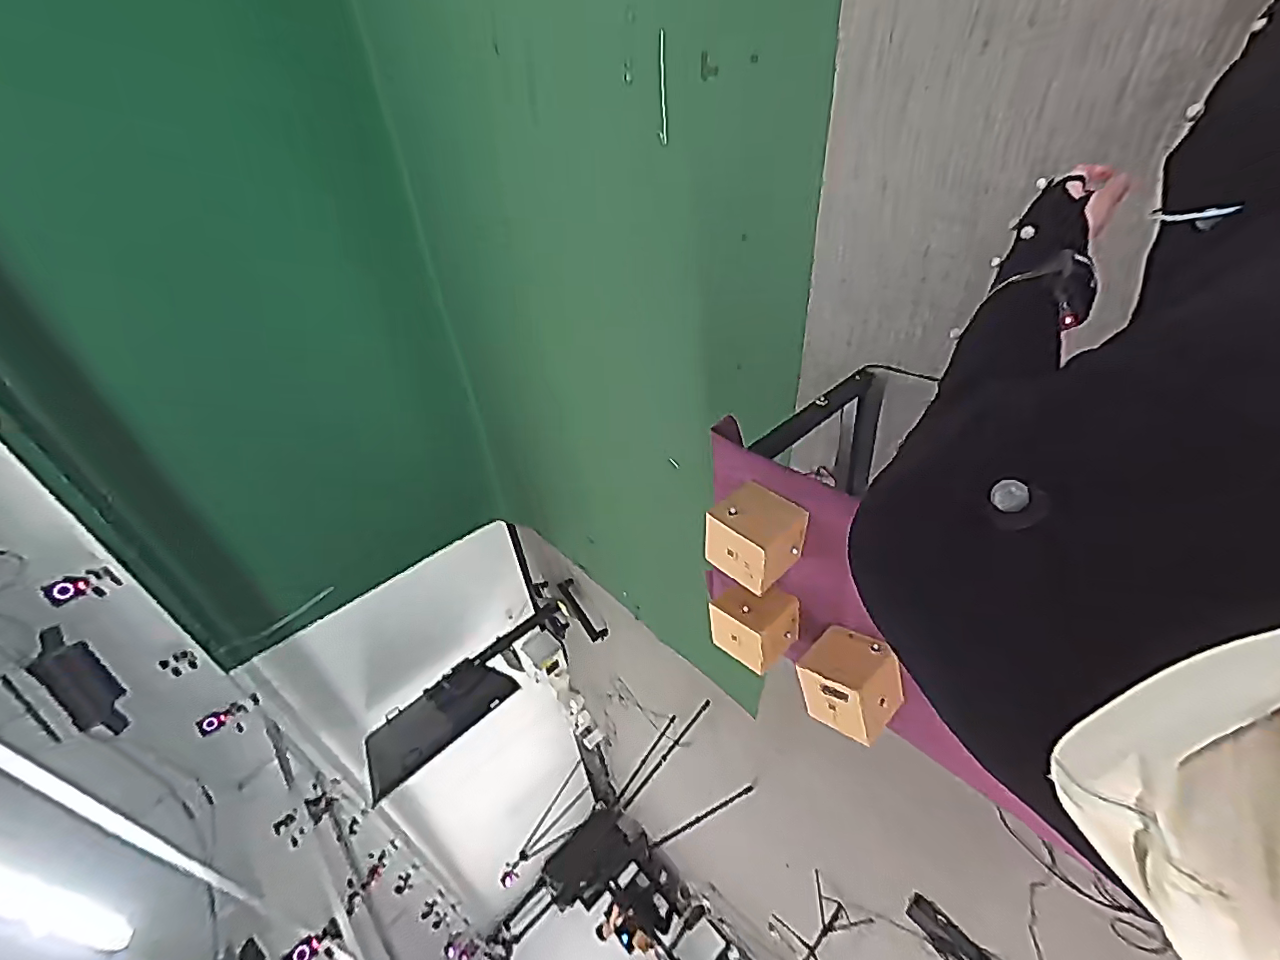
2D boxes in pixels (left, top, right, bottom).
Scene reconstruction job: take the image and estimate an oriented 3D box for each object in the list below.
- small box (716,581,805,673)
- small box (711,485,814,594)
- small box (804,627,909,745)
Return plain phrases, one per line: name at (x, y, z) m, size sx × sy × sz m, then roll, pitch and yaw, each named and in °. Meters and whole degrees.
small box at (0.336, 0.390, 1.506) m, size 0.179 × 0.176 × 0.168 m, roll 25°, pitch 137°, yaw 42°
small box at (0.294, 0.135, 1.319) m, size 0.179 × 0.176 × 0.168 m, roll 33°, pitch 144°, yaw 35°
small box at (0.527, 0.489, 1.312) m, size 0.168 × 0.176 × 0.179 m, roll 11°, pitch 127°, yaw 52°
